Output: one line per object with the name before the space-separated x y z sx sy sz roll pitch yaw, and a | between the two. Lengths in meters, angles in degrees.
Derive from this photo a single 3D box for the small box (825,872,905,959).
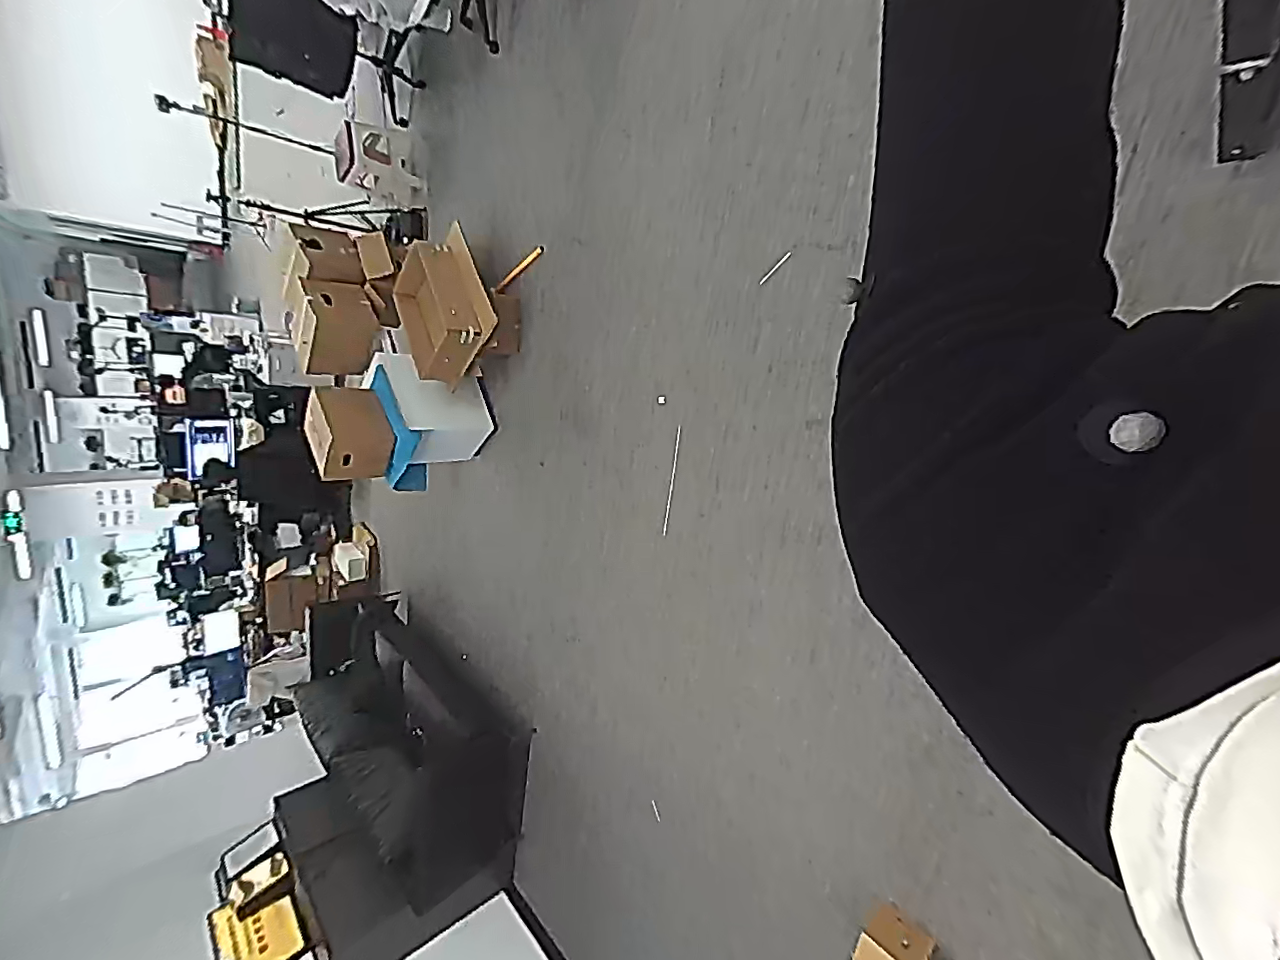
small box | 0.726 1.421 1.734 0.168 0.176 0.179 23 112 40
